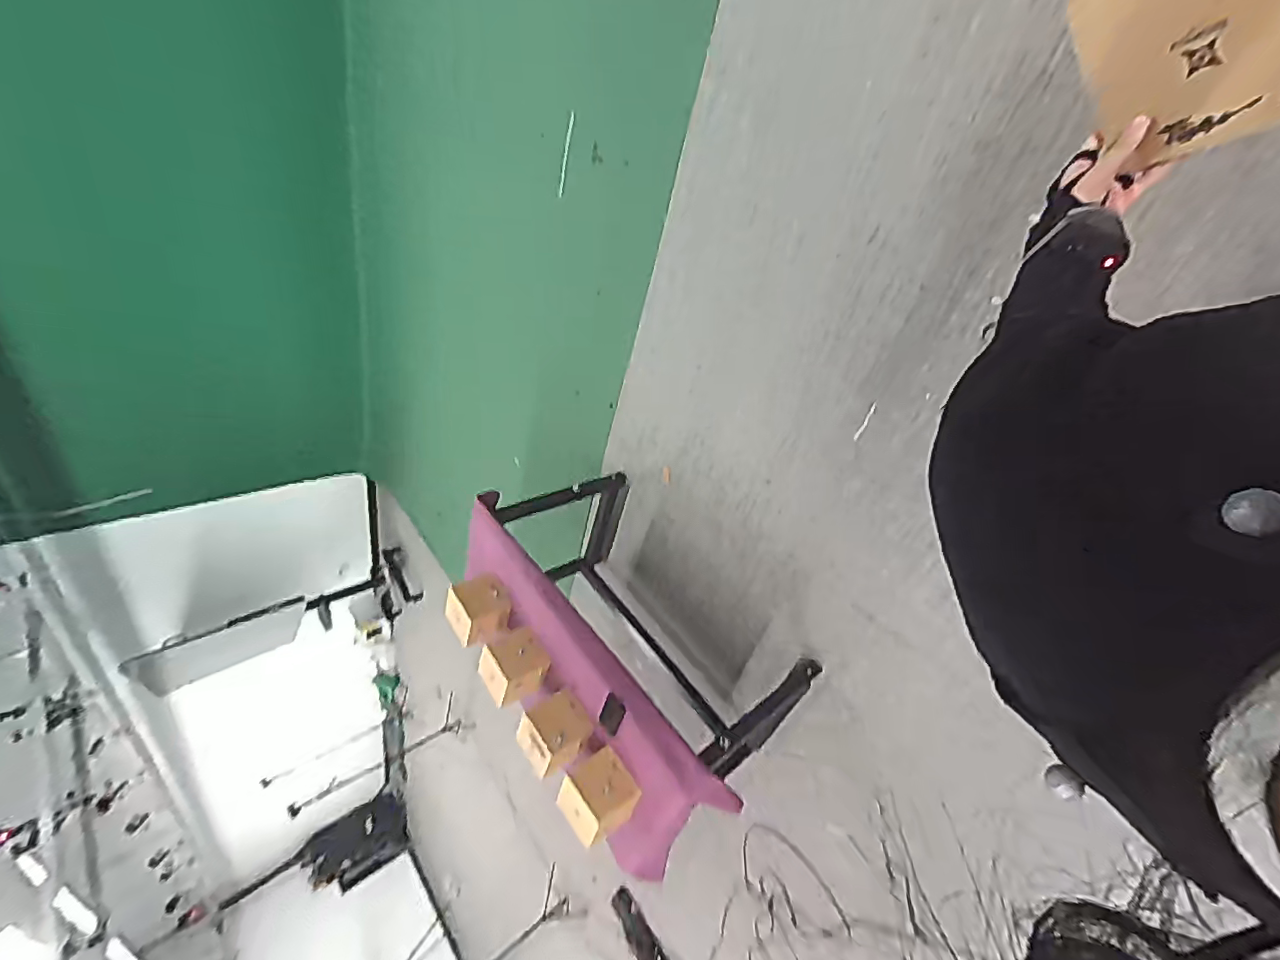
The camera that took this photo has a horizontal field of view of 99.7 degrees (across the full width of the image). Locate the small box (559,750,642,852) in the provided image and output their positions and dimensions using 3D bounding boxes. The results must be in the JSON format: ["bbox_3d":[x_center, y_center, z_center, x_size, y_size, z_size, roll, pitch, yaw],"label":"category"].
[{"bbox_3d":[-0.116,0.950,1.613,0.168,0.176,0.179,42,132,32],"label":"small box"}]

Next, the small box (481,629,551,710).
[{"bbox_3d":[-0.425,0.646,1.863,0.168,0.176,0.179,47,134,29],"label":"small box"}]

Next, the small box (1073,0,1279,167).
[{"bbox_3d":[0.526,-0.422,0.460,0.179,0.176,0.168,49,168,-22],"label":"small box"}]

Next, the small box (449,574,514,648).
[{"bbox_3d":[-0.582,0.480,1.988,0.168,0.176,0.179,47,134,26],"label":"small box"}]
